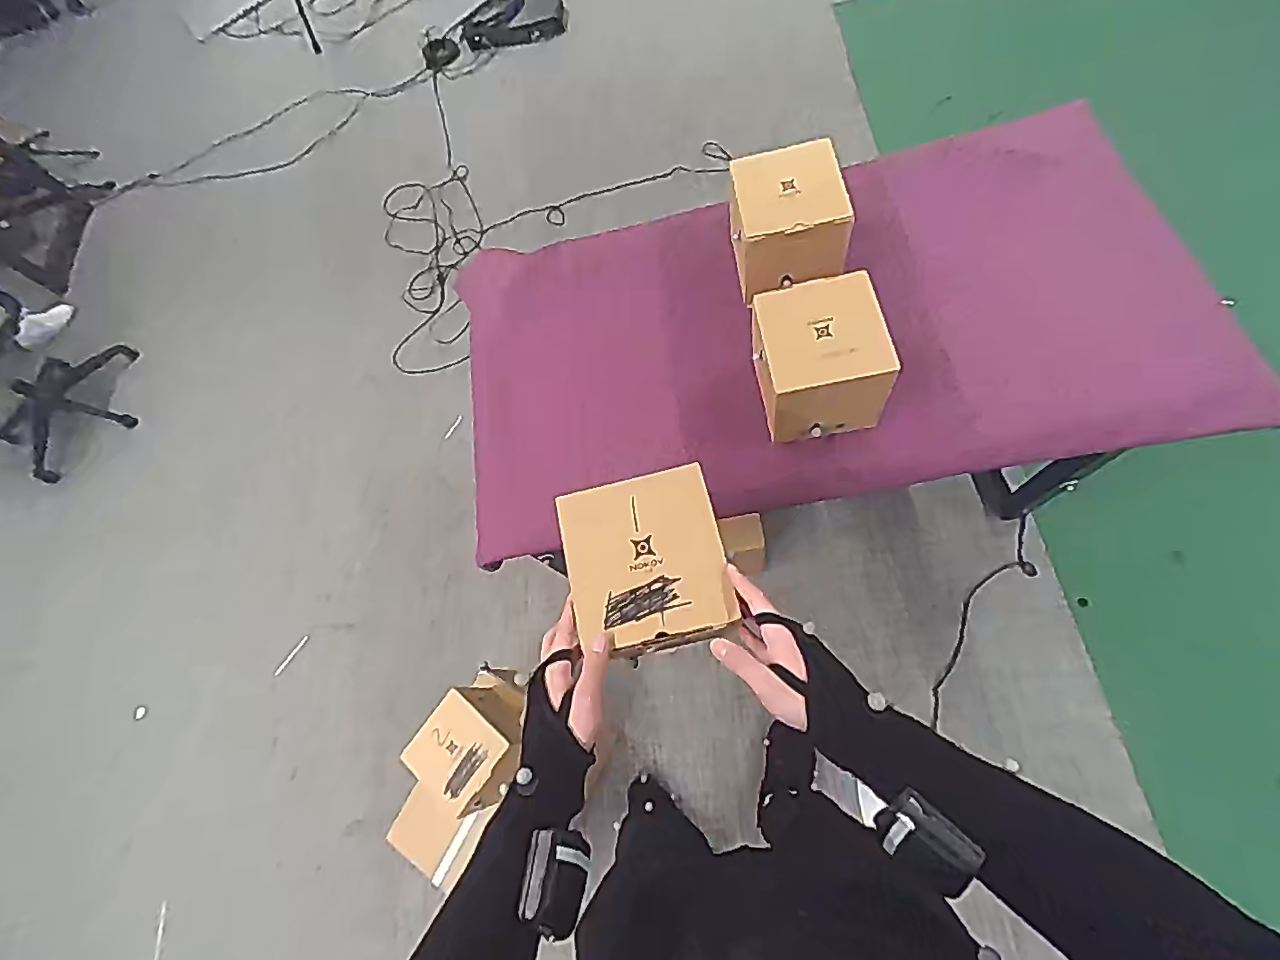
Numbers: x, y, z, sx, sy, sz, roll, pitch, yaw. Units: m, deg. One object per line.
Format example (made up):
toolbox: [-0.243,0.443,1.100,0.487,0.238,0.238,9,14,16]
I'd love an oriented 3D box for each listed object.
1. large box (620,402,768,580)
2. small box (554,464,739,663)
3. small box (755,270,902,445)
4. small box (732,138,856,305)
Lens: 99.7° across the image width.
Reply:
large box: [0.151,0.062,1.473,0.320,0.320,0.408,-11,66,7]
small box: [0.013,0.106,0.627,0.168,0.176,0.179,-14,69,2]
small box: [0.269,-0.176,0.814,0.168,0.176,0.179,-10,66,9]
small box: [0.250,-0.430,0.919,0.168,0.176,0.179,-9,69,8]
